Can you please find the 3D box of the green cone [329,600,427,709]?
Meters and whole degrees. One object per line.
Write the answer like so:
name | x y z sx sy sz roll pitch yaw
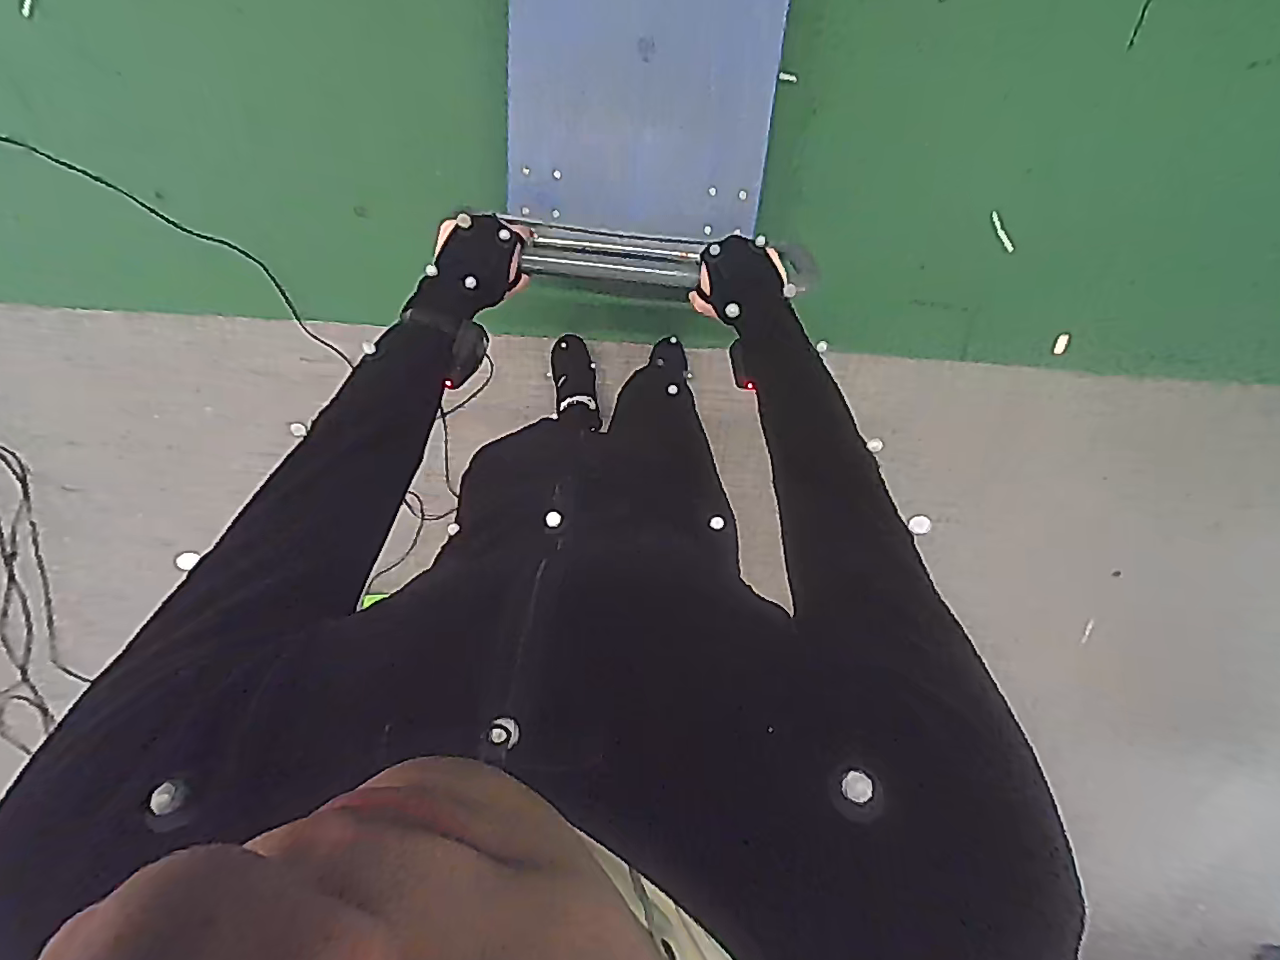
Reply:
green cone | -0.818 0.542 1.633 0.202 0.368 0.200 0 110 1
